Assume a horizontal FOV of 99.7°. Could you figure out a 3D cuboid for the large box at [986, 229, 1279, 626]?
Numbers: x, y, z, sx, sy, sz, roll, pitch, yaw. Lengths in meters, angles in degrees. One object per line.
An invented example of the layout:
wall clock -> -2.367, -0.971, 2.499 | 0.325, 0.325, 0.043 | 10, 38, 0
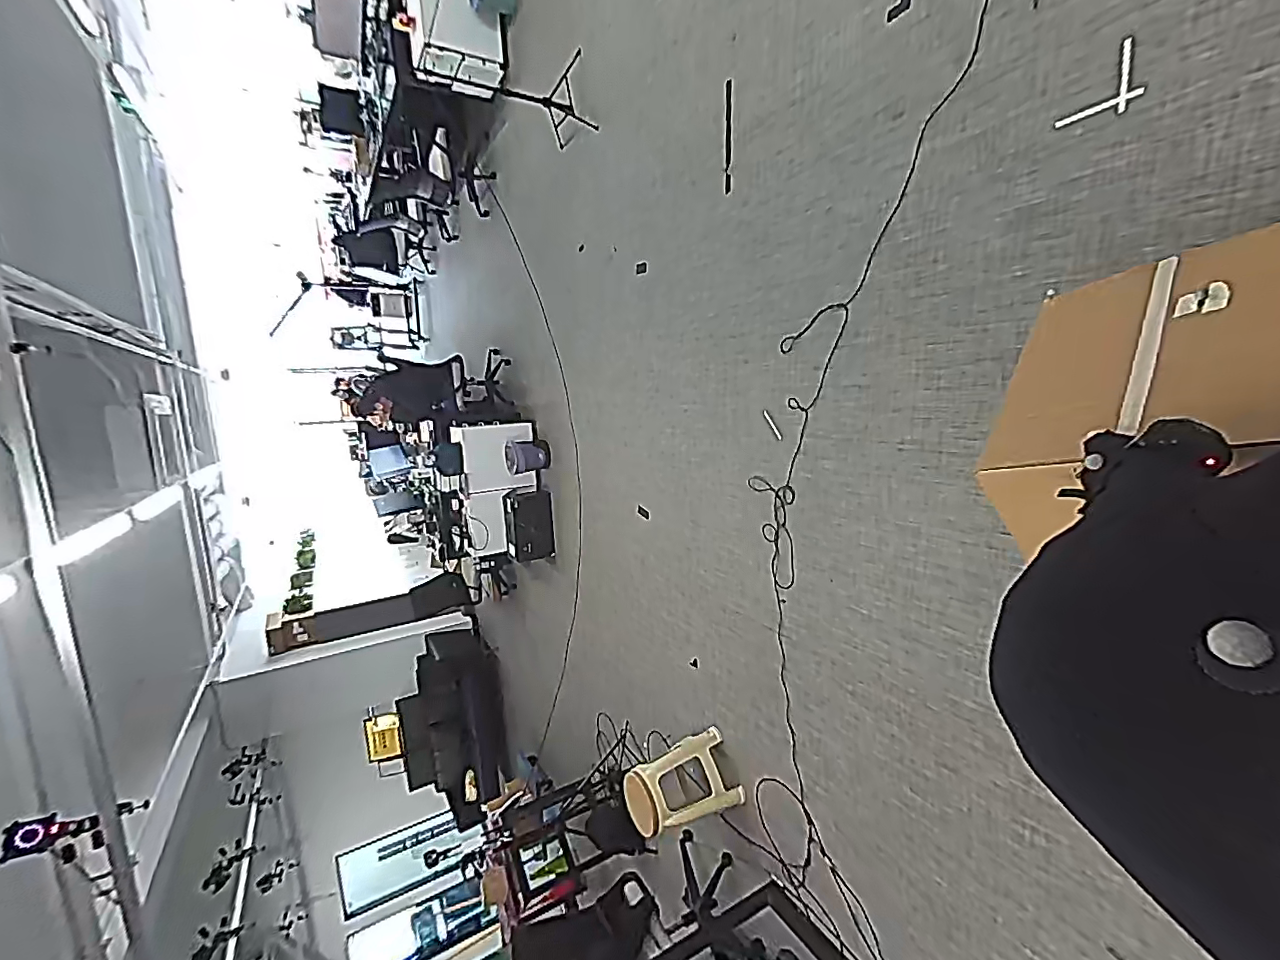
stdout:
large box -> 0.746, -0.061, 0.732 | 0.320, 0.408, 0.320 | 48, 153, -20
